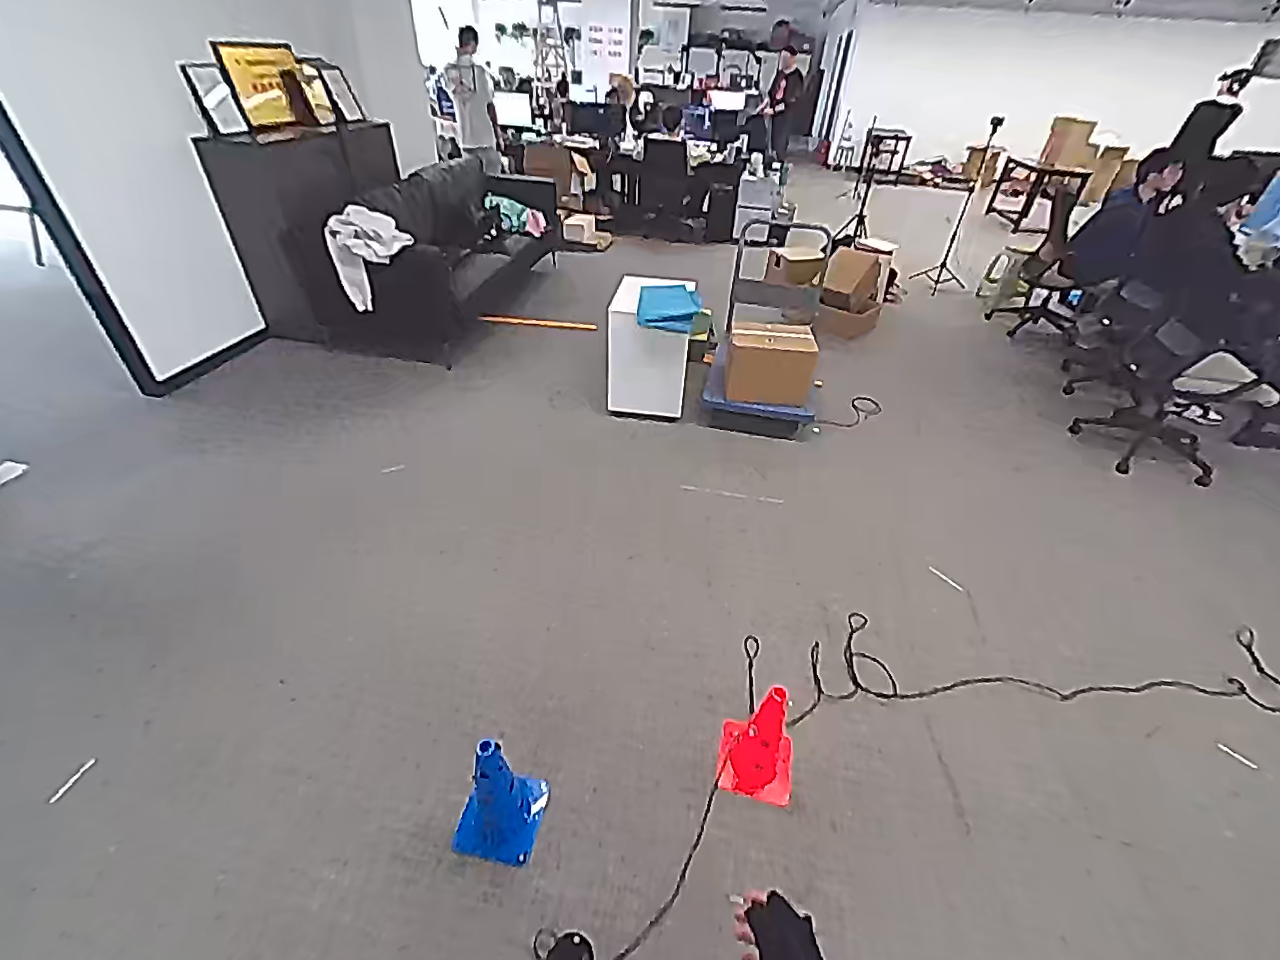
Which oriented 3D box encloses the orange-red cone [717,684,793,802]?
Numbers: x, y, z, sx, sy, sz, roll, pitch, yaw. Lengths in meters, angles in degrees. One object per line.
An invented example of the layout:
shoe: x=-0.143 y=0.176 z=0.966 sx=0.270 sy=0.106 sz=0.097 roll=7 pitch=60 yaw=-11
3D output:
orange-red cone: x=0.328 y=0.647 z=1.410 sx=0.198 sy=0.360 sz=0.199 roll=11 pitch=40 yaw=12
